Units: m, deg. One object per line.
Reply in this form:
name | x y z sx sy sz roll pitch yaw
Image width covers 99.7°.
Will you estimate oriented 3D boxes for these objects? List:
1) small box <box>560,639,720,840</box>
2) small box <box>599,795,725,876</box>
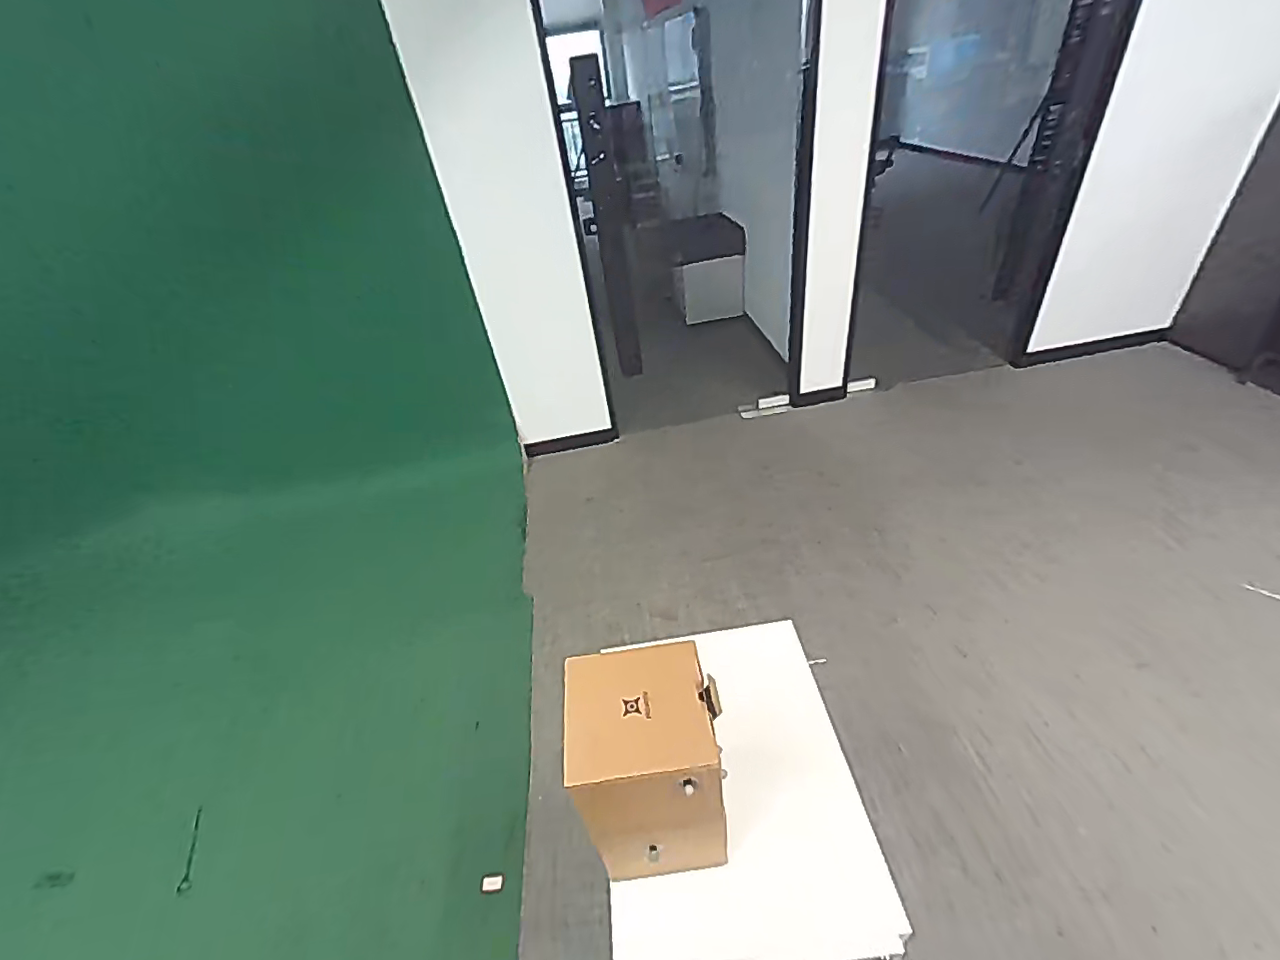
small box | 0.001 0.334 0.695 0.179 0.176 0.168 -8 37 -1
small box | 0.024 0.457 0.800 0.179 0.176 0.168 -9 38 0
